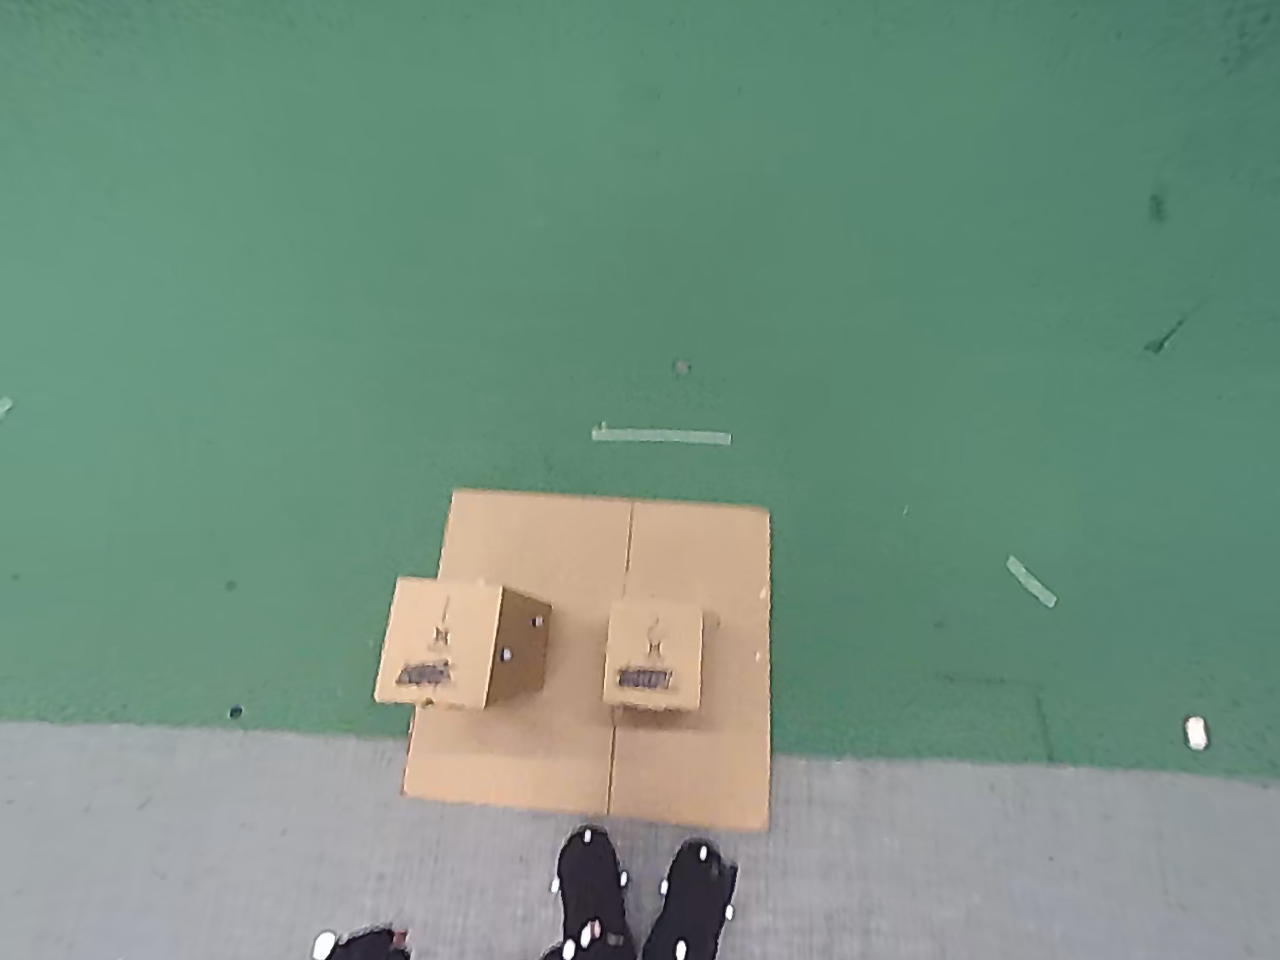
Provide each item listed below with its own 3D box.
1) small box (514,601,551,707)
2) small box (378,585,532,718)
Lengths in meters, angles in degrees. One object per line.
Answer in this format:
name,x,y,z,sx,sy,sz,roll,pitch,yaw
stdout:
small box,-0.270,0.322,1.018,0.168,0.176,0.179,2,73,5
small box,-0.280,0.270,0.862,0.168,0.176,0.179,3,72,5
